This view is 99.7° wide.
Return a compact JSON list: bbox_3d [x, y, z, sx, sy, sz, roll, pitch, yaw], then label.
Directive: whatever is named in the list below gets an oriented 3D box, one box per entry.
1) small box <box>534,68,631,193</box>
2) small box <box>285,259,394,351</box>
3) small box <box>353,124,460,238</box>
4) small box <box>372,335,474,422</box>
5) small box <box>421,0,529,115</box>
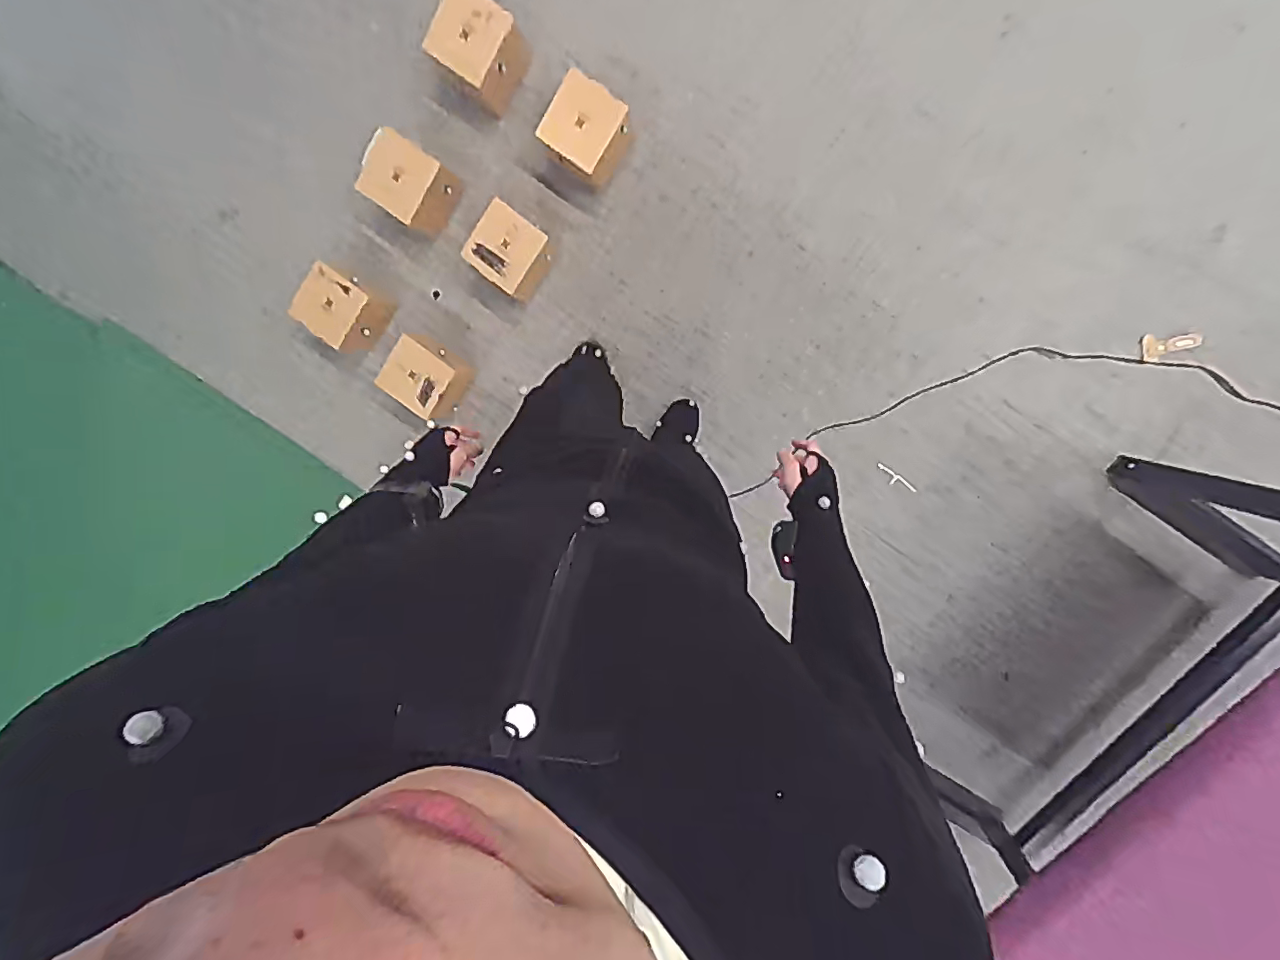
[{"bbox_3d":[-0.134,-0.863,1.358,0.168,0.176,0.179,34,102,-3],"label":"small box"},{"bbox_3d":[-0.819,-0.474,1.494,0.168,0.176,0.179,38,103,-4],"label":"small box"},{"bbox_3d":[-0.597,-0.769,1.413,0.168,0.176,0.179,36,103,-3],"label":"small box"},{"bbox_3d":[-0.599,-0.286,1.517,0.179,0.176,0.168,37,102,-3],"label":"small box"},{"bbox_3d":[-0.397,-1.054,1.334,0.168,0.176,0.179,34,102,-4],"label":"small box"}]
